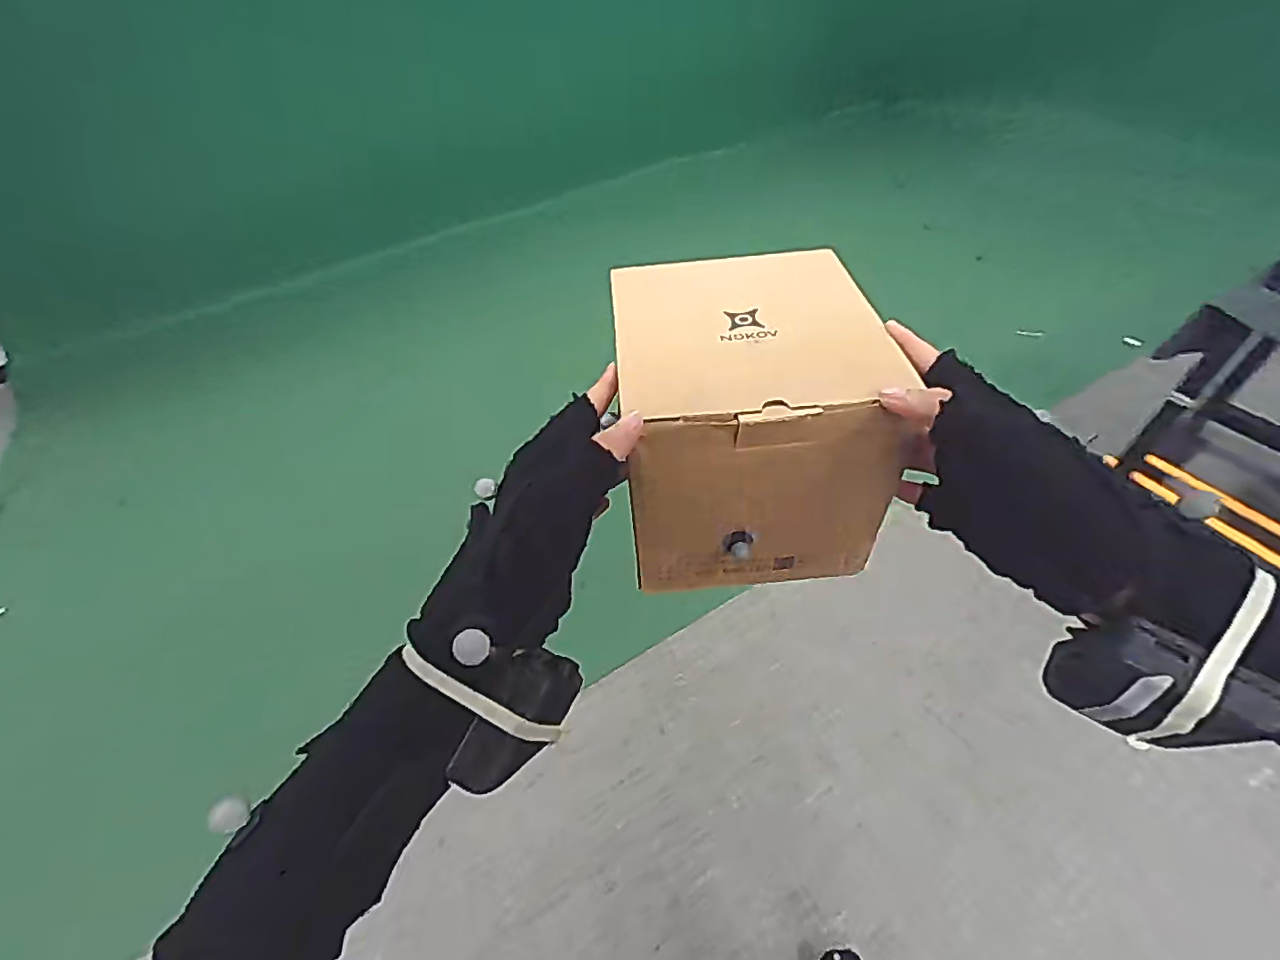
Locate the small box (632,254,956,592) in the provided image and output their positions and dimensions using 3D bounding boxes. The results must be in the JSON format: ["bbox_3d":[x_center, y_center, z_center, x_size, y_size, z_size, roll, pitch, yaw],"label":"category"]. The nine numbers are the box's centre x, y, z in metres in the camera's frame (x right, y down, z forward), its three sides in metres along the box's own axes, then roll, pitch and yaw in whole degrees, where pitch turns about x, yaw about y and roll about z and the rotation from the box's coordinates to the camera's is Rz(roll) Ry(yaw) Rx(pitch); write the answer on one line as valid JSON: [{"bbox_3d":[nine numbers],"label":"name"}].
[{"bbox_3d":[0.081,-0.041,0.393,0.168,0.176,0.179,-5,48,0],"label":"small box"}]
